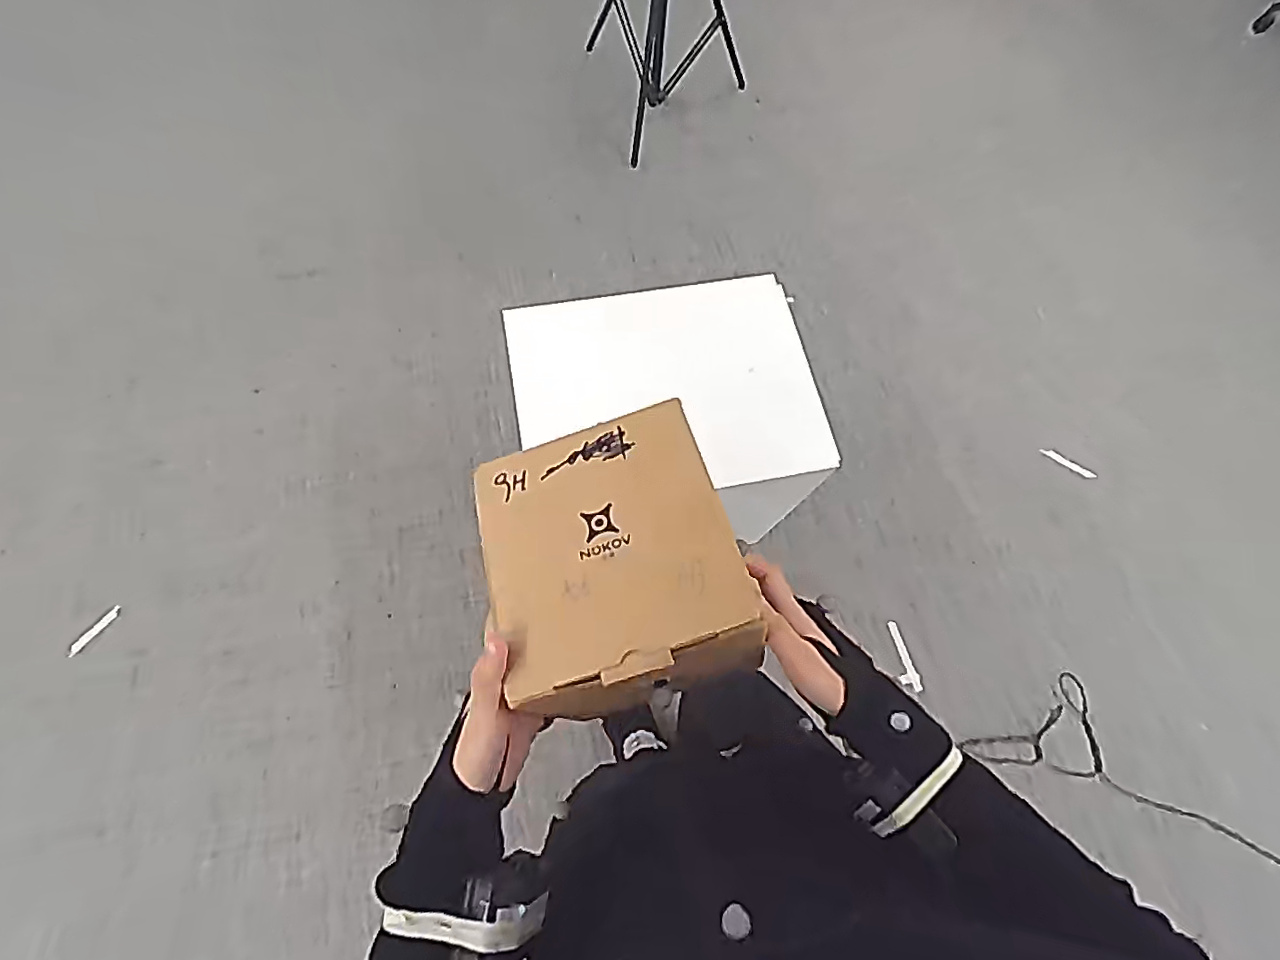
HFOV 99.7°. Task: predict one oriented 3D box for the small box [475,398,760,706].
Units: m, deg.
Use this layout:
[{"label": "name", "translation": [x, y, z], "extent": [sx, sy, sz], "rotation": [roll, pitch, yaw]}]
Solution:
[{"label": "small box", "translation": [-0.010, 0.071, 0.434], "extent": [0.168, 0.176, 0.179], "rotation": [-19, 62, 2]}]
